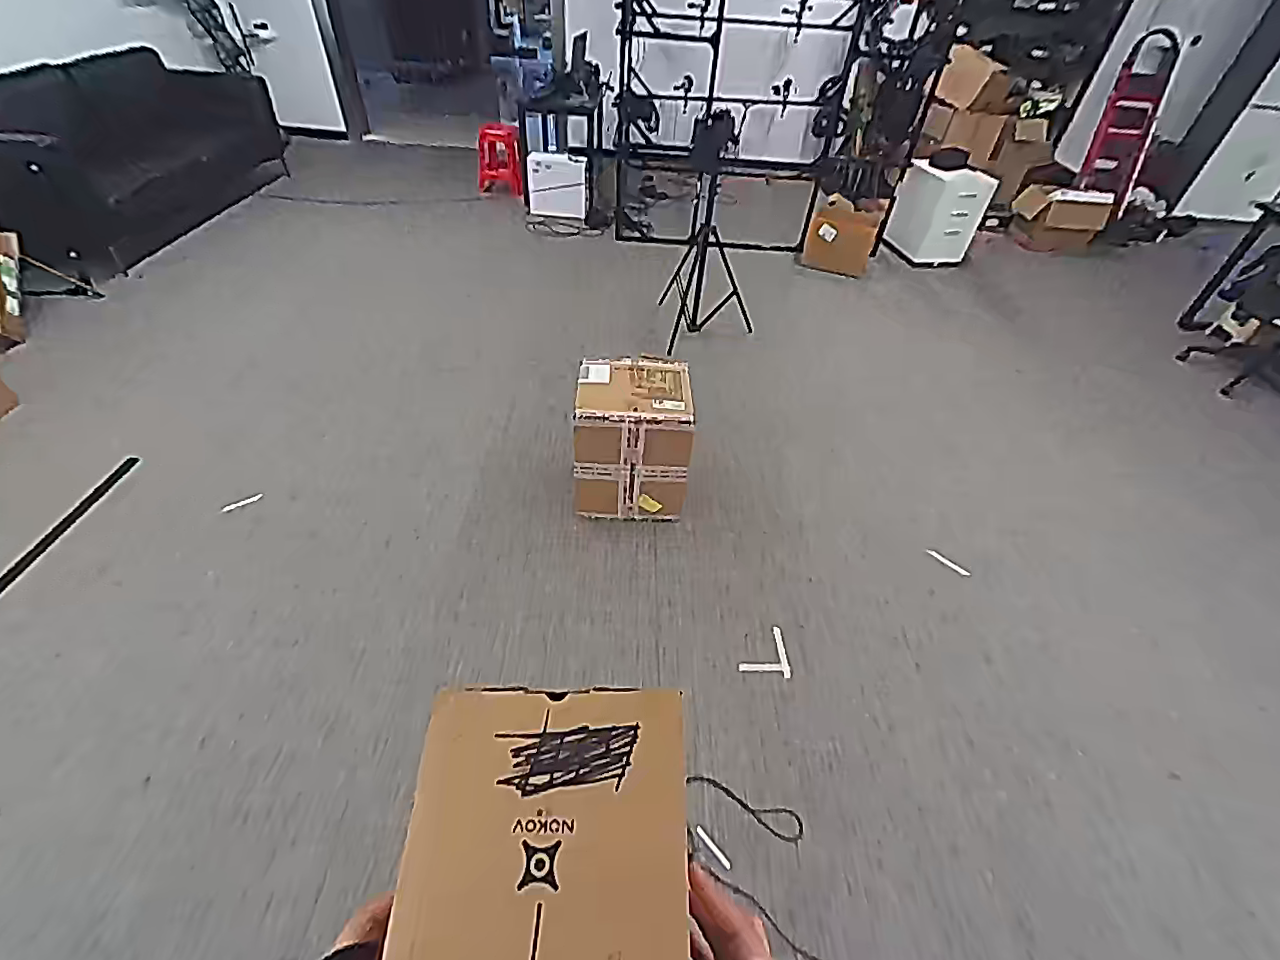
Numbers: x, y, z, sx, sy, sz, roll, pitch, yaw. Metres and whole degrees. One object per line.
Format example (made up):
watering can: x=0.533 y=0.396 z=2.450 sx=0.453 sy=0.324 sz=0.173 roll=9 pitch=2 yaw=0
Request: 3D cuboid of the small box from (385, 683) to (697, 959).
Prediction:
small box: x=-0.048 y=0.252 z=0.376 sx=0.168 sy=0.176 sz=0.179 roll=-1 pitch=58 yaw=3
